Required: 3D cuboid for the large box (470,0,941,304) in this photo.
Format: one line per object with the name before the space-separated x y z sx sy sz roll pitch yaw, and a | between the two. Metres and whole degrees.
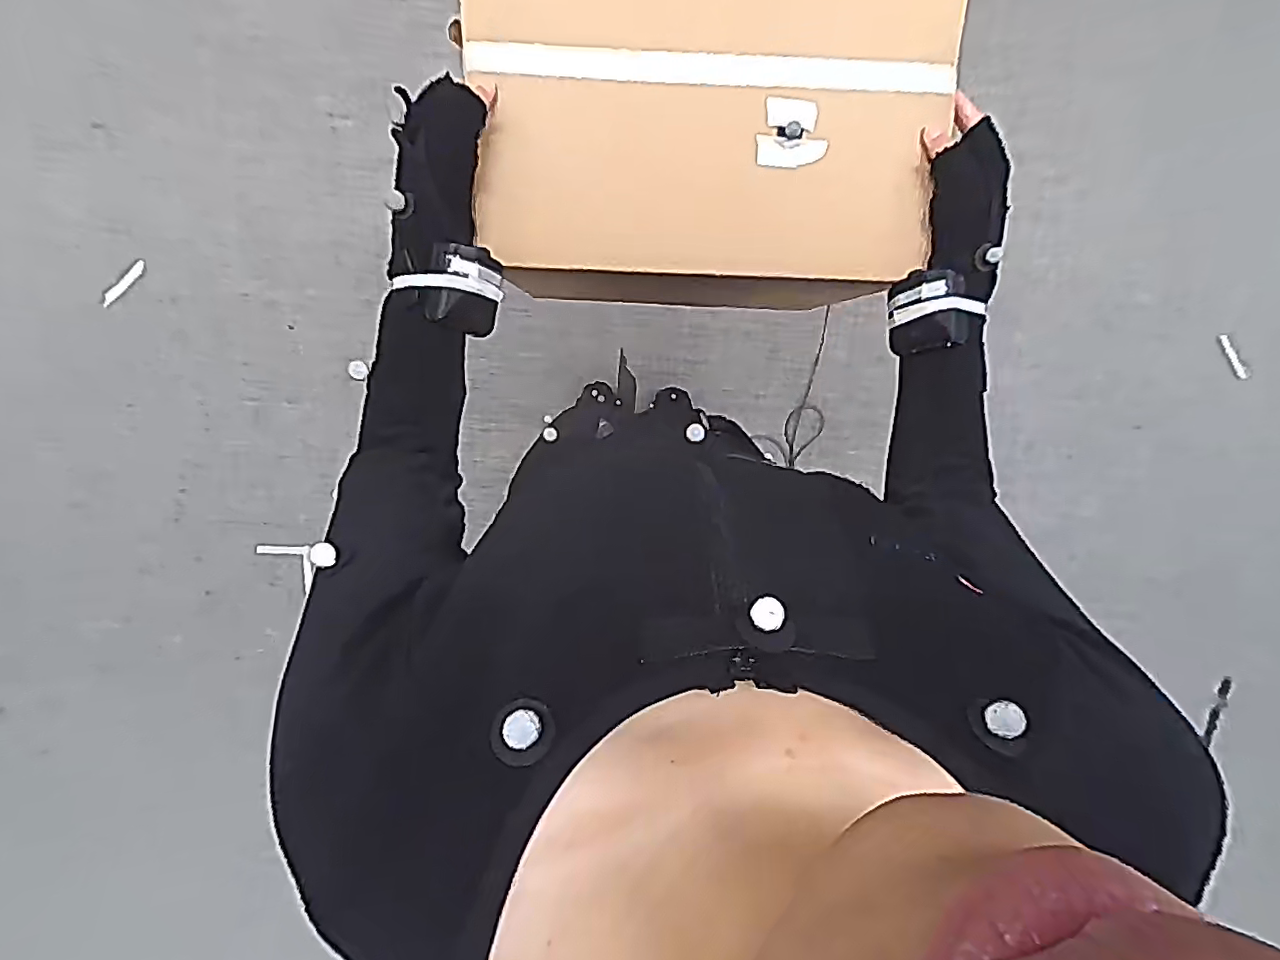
large box | 0.049 -0.375 0.611 0.408 0.320 0.320 0 104 -3
